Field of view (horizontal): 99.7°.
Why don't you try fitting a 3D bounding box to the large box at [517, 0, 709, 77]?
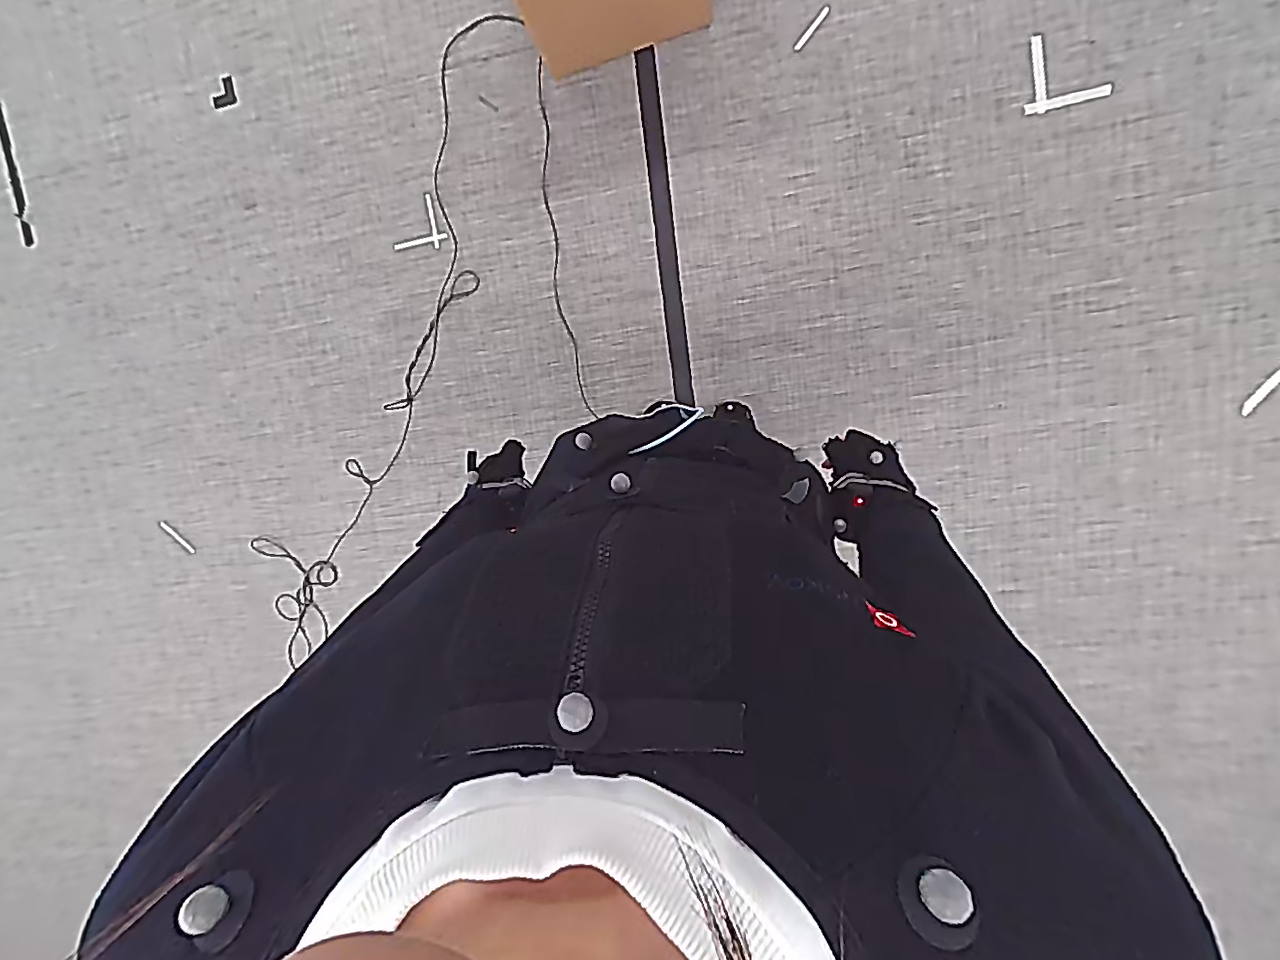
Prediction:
[{"bbox_3d":[-0.081,-1.156,1.140,0.408,0.320,0.320,-13,98,8],"label":"large box"}]
